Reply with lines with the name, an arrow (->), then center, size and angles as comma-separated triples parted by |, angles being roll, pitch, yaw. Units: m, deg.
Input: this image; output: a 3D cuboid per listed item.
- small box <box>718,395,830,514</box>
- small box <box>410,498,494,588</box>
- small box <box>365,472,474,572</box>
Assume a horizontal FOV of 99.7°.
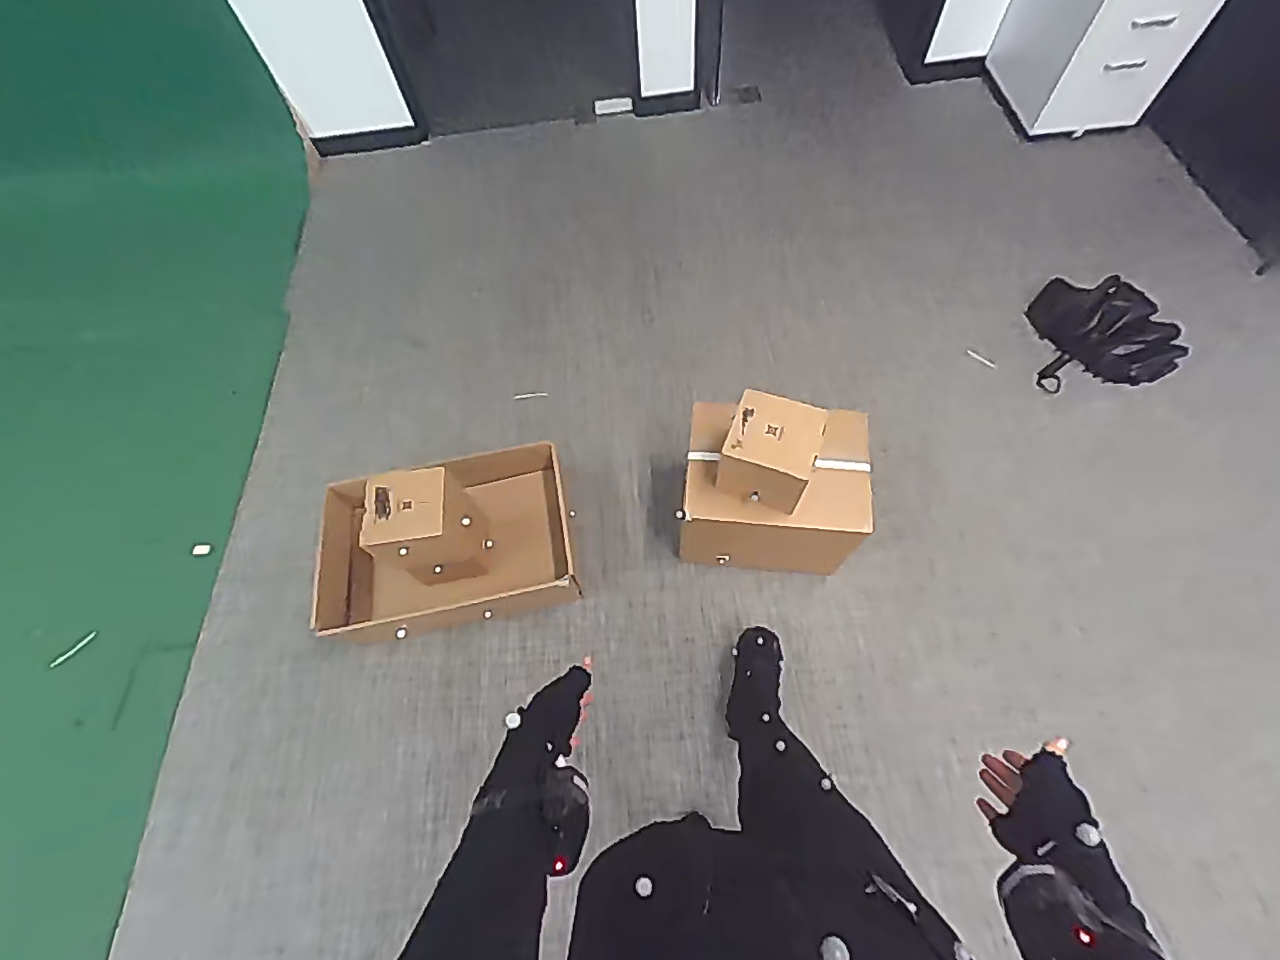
small box -> 0.275, -0.045, 1.141 | 0.179, 0.176, 0.168 | 19, 66, 12
small box -> -0.487, 0.166, 1.387 | 0.179, 0.176, 0.168 | -10, 63, -3
small box -> -0.494, 0.102, 1.235 | 0.179, 0.176, 0.168 | -8, 63, -1
